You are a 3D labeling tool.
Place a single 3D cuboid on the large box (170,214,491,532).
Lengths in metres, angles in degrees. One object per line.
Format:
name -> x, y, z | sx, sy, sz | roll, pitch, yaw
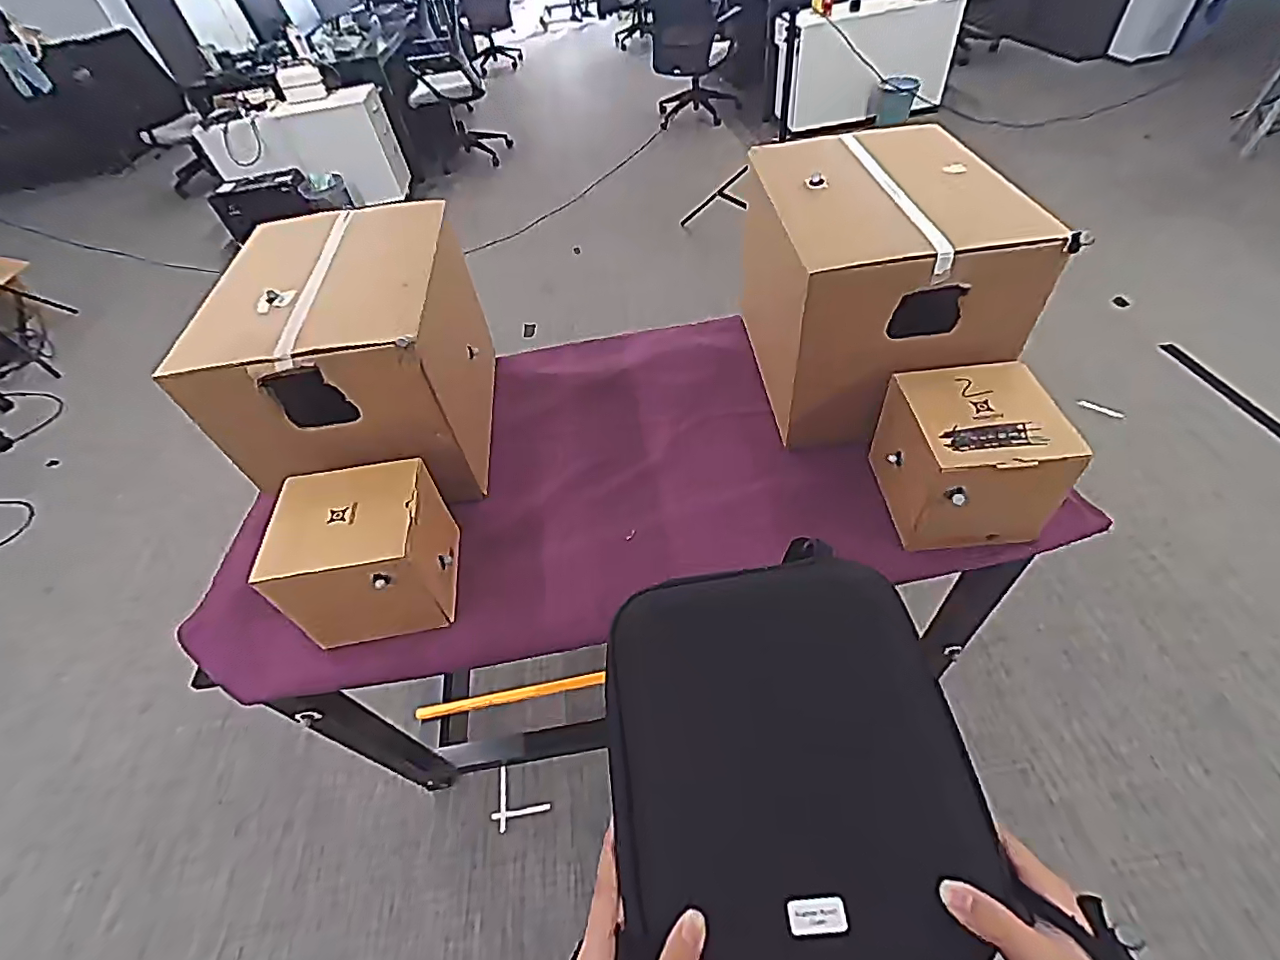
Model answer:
large box -> -0.438, -0.180, 0.893 | 0.320, 0.320, 0.408 | -10, 51, -2
